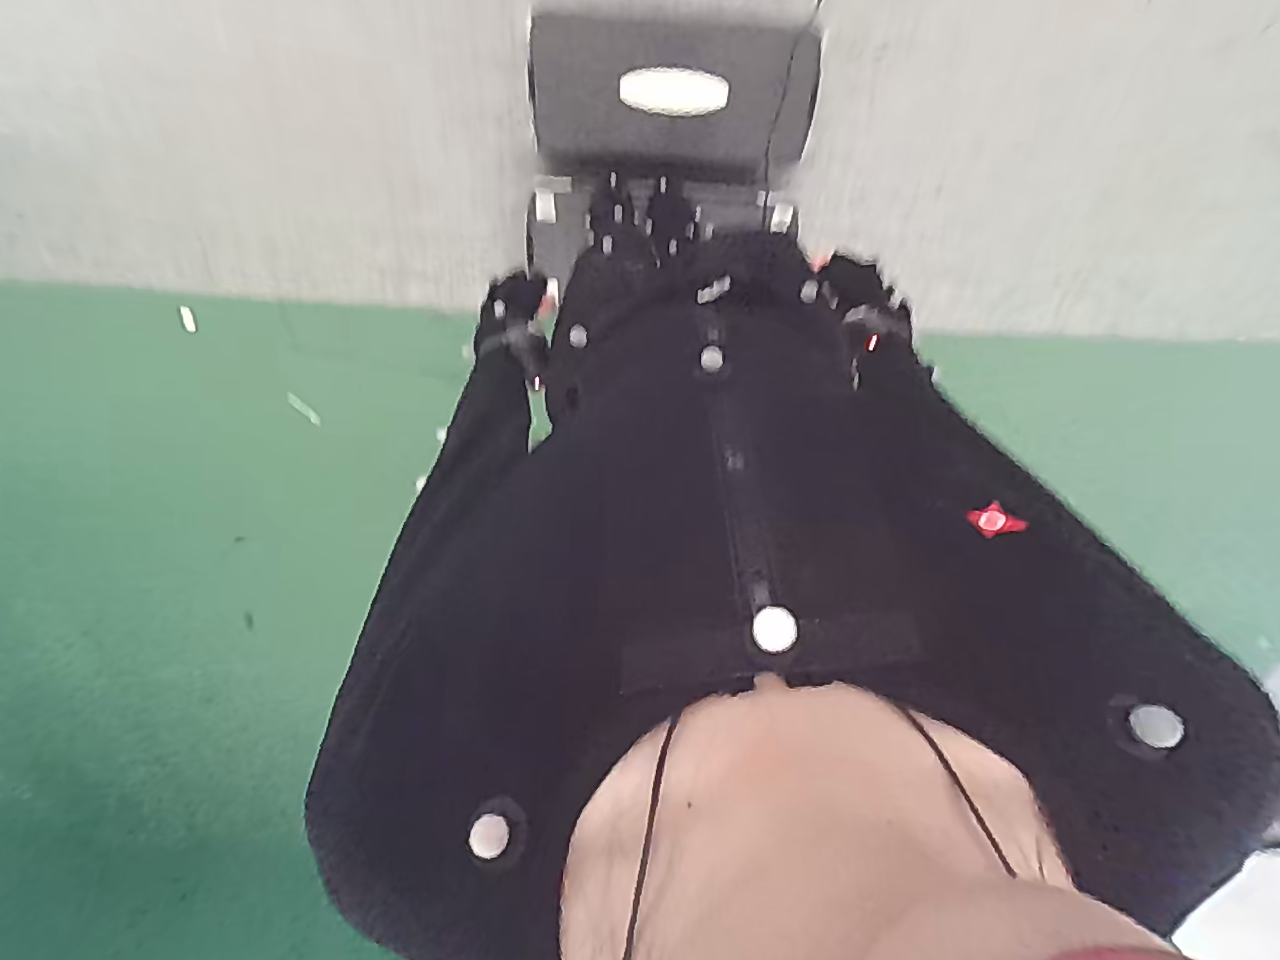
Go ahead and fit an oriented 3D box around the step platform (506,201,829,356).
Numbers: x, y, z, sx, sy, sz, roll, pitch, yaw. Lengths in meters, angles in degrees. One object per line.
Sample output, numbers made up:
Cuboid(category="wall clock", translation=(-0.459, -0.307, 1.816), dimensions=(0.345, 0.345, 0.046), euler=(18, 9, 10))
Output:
Cuboid(category="step platform", translation=(0.055, -0.462, 1.235), dimensions=(0.684, 0.204, 0.286), euler=(1, 120, -4))
